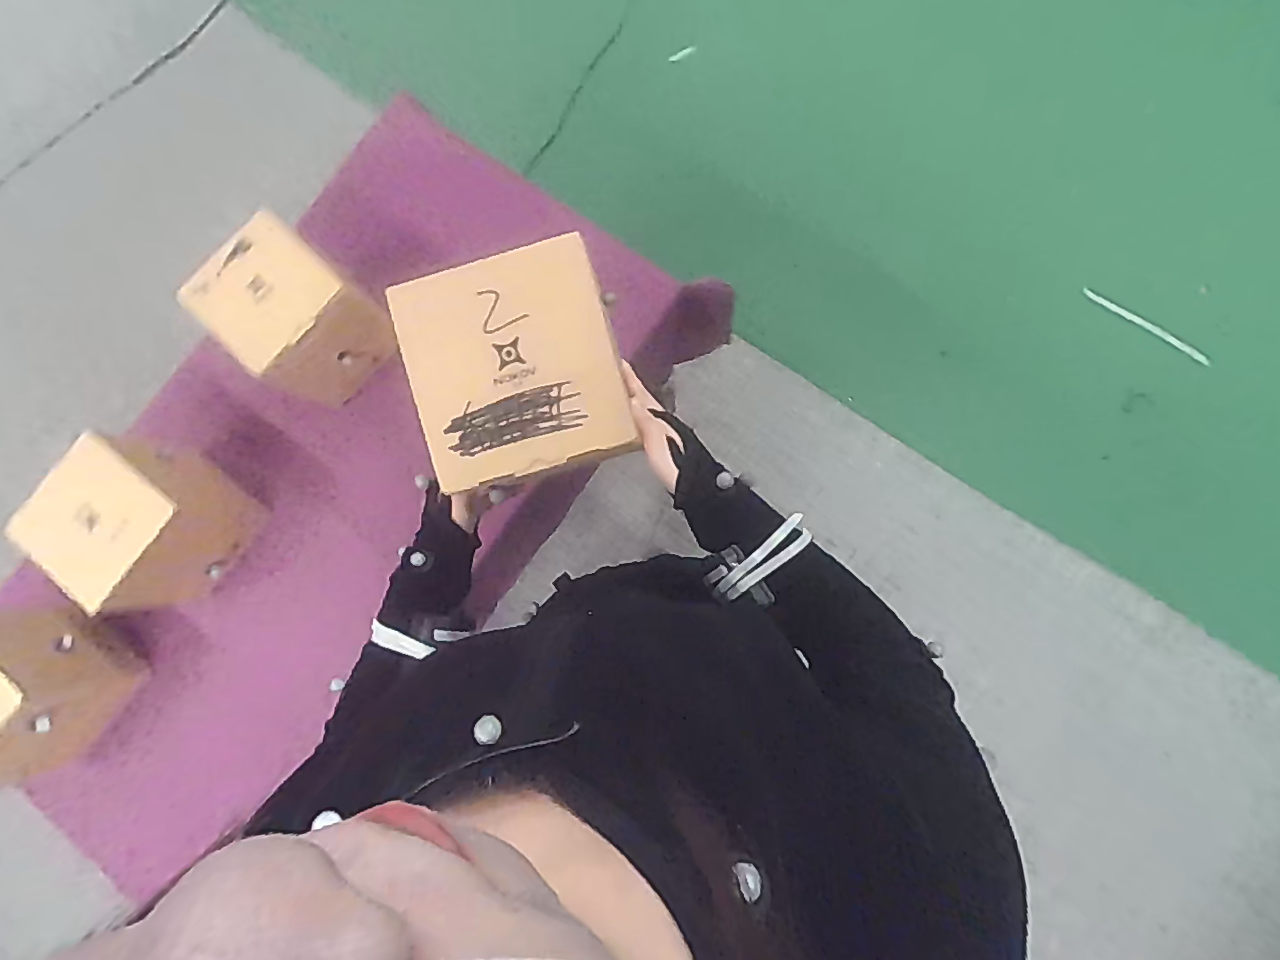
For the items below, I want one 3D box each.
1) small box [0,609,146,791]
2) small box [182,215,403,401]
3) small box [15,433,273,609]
[{"bbox_3d":[-0.853,0.298,0.750,0.168,0.176,0.179,36,86,9],"label":"small box"},{"bbox_3d":[-0.493,-0.236,0.796,0.179,0.176,0.168,42,87,8],"label":"small box"},{"bbox_3d":[-0.690,0.062,0.773,0.179,0.176,0.168,37,87,8],"label":"small box"}]
